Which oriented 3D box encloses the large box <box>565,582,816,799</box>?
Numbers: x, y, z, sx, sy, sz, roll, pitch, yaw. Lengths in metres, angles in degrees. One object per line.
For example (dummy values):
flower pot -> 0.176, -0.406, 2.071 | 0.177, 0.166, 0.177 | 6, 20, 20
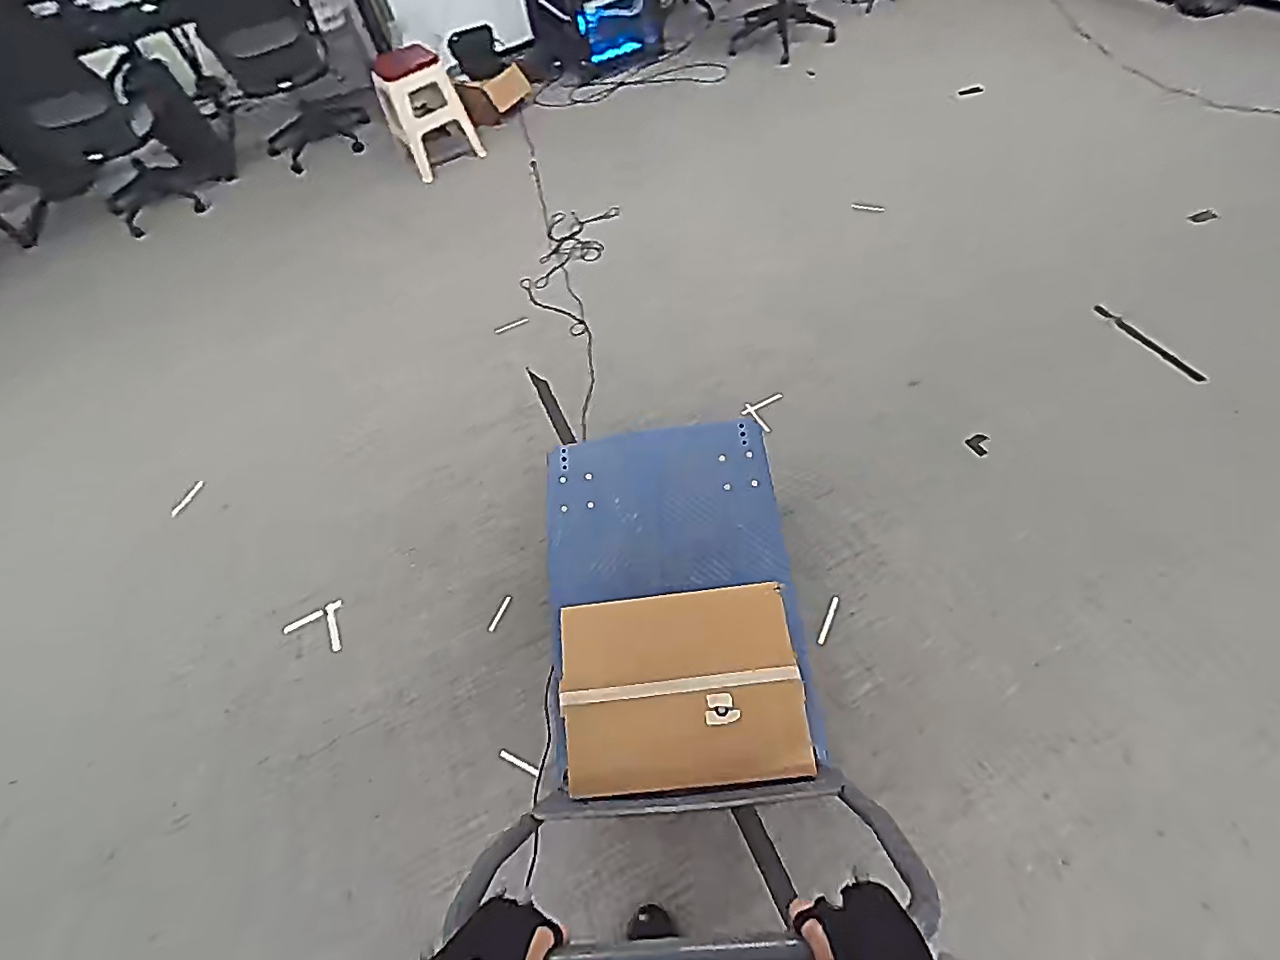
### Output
large box -> 0.088, 0.416, 1.080 | 0.408, 0.320, 0.320 | -9, 68, 3
